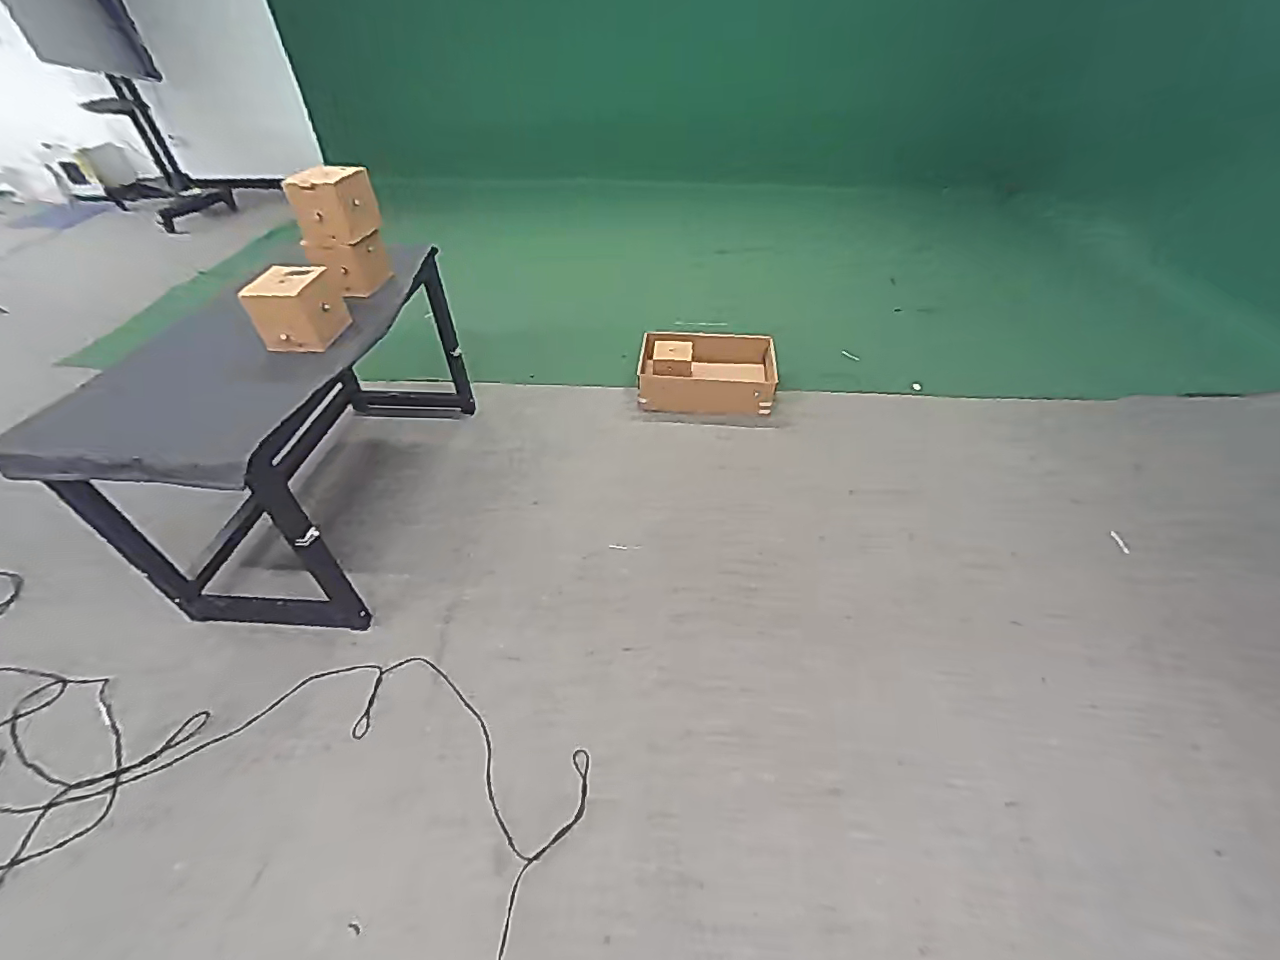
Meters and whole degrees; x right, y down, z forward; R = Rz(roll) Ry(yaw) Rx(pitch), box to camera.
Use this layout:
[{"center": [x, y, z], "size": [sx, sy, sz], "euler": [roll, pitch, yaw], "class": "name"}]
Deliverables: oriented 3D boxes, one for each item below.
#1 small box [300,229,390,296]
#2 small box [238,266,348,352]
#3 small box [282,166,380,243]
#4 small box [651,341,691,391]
[{"center": [-0.935, -0.706, 1.737], "size": [0.168, 0.176, 0.179], "euler": [5, 43, 6], "class": "small box"}, {"center": [-0.940, -0.472, 1.491], "size": [0.168, 0.176, 0.179], "euler": [2, 45, 5], "class": "small box"}, {"center": [-0.920, -0.832, 1.631], "size": [0.168, 0.176, 0.179], "euler": [7, 45, 8], "class": "small box"}, {"center": [0.145, -0.531, 2.519], "size": [0.179, 0.176, 0.168], "euler": [4, 45, 3], "class": "small box"}]
